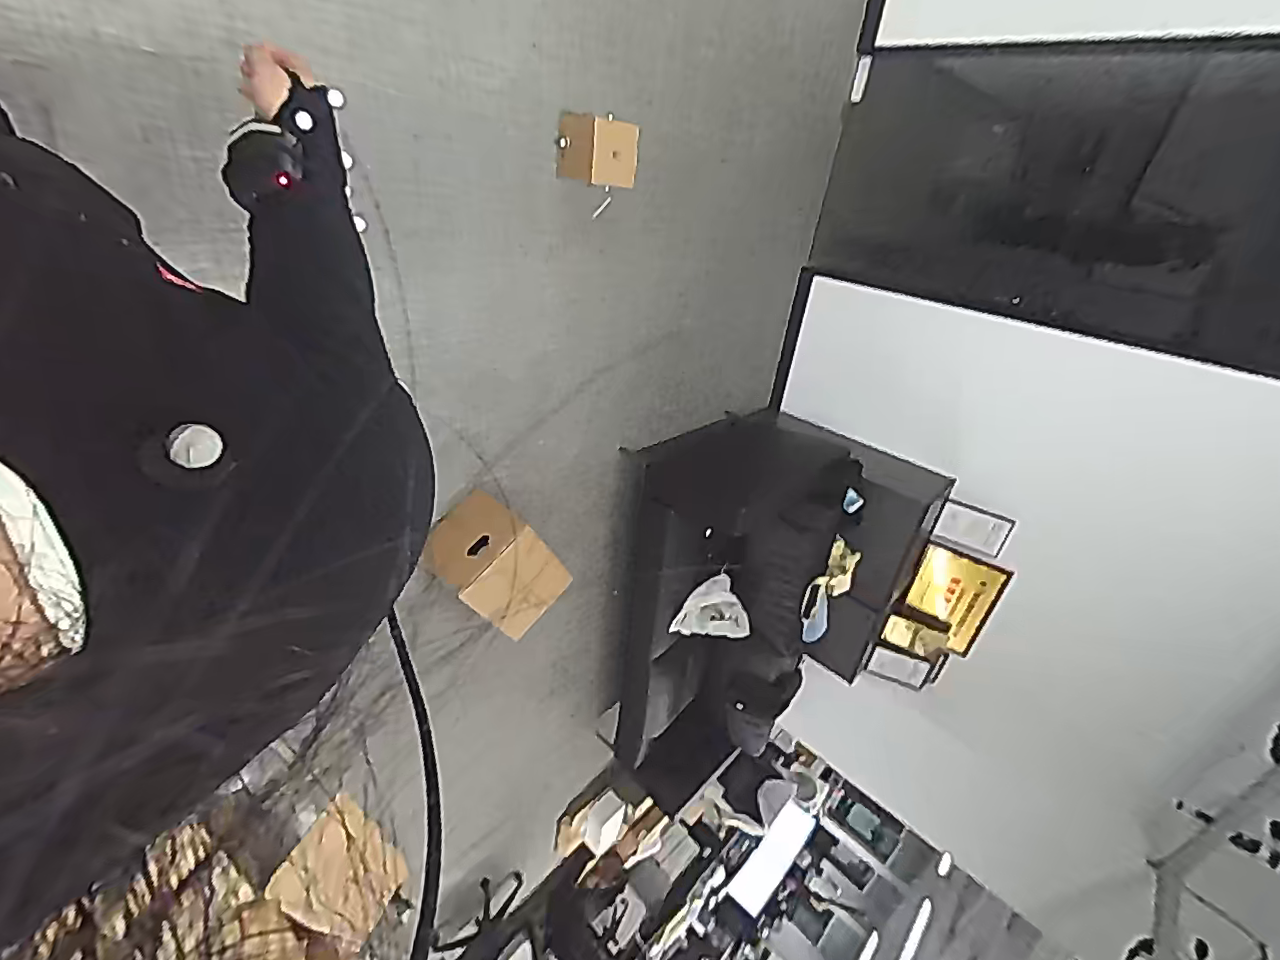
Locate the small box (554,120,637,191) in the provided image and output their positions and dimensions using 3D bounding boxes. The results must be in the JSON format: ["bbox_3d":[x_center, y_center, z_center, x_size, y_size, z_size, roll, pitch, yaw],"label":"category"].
[{"bbox_3d":[-0.136,-0.979,1.632,0.179,0.176,0.168,-22,130,-41],"label":"small box"}]
